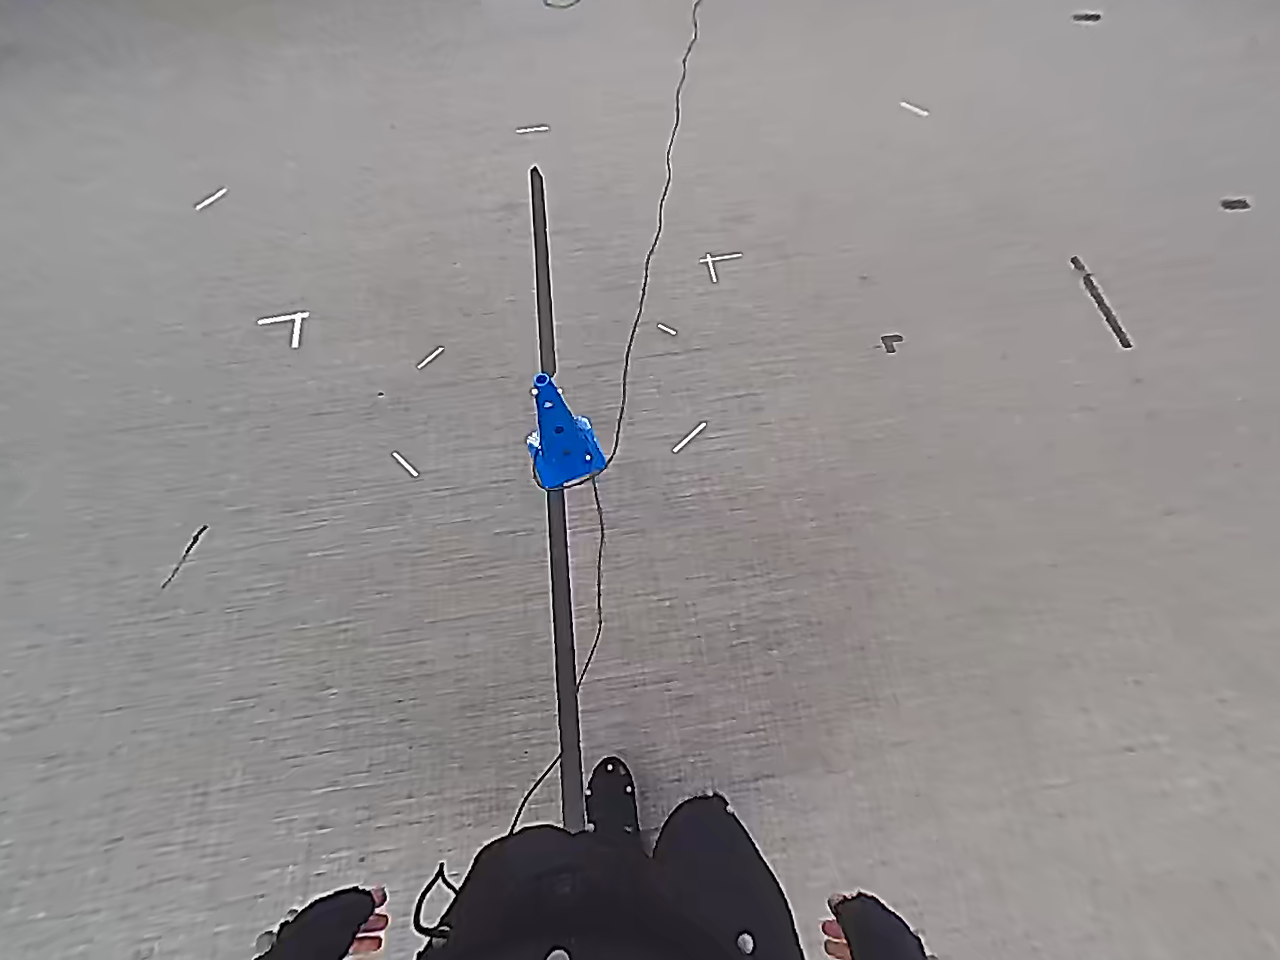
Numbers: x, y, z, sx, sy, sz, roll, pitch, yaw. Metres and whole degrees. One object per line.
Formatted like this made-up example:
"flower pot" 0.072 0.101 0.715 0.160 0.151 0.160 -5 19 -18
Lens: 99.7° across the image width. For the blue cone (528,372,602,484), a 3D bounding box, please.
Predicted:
"blue cone" -0.229 -0.166 1.453 0.193 0.380 0.192 -22 65 -9
